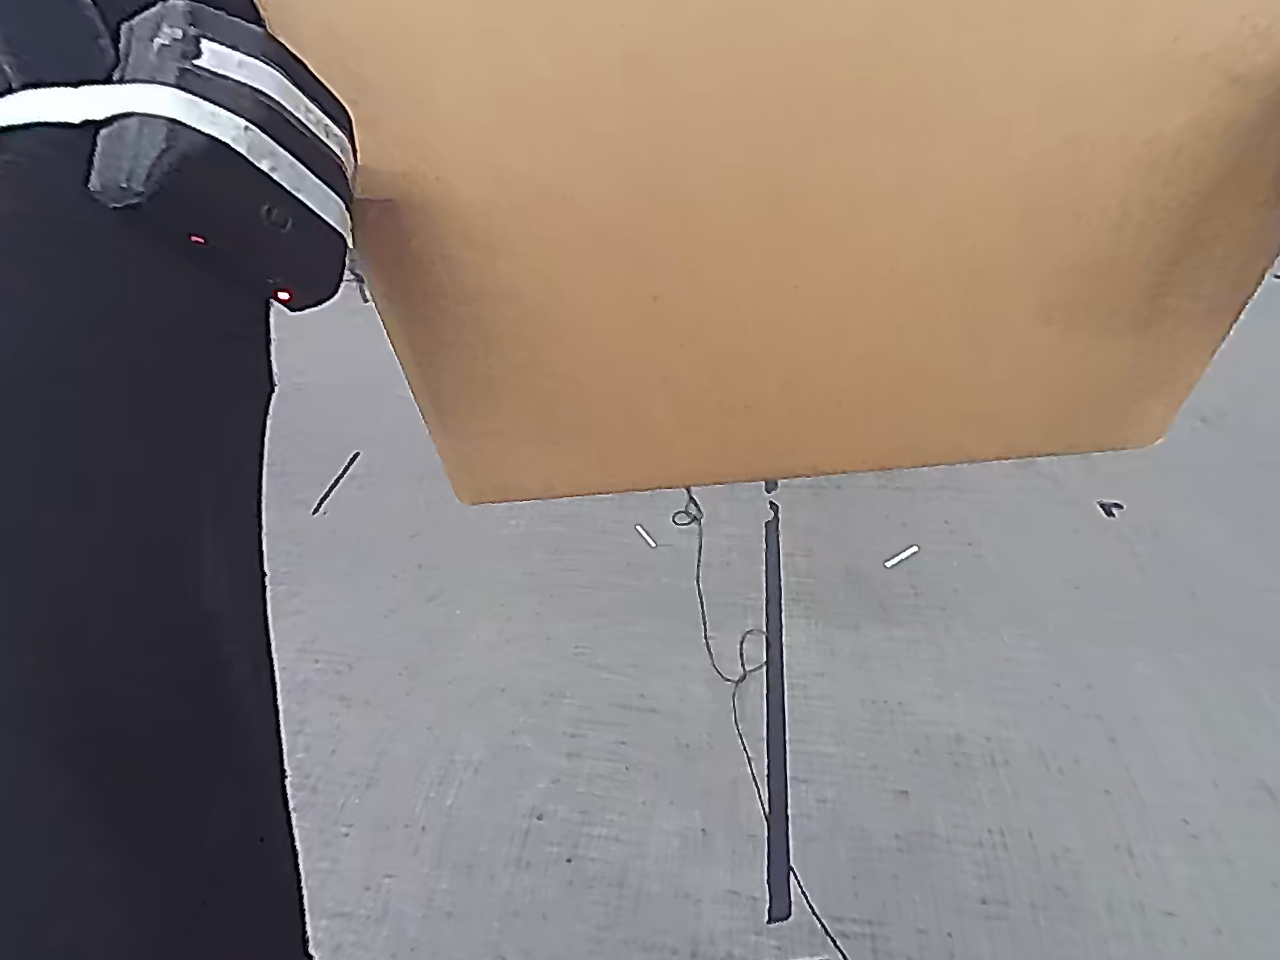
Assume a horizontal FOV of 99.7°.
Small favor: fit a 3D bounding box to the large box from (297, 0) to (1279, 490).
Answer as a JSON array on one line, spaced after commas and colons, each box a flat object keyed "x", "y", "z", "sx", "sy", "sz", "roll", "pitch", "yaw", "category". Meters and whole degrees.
[{"x": 0.074, "y": -0.217, "z": 0.345, "sx": 0.408, "sy": 0.320, "sz": 0.320, "roll": -4, "pitch": 40, "yaw": 1, "category": "large box"}]
